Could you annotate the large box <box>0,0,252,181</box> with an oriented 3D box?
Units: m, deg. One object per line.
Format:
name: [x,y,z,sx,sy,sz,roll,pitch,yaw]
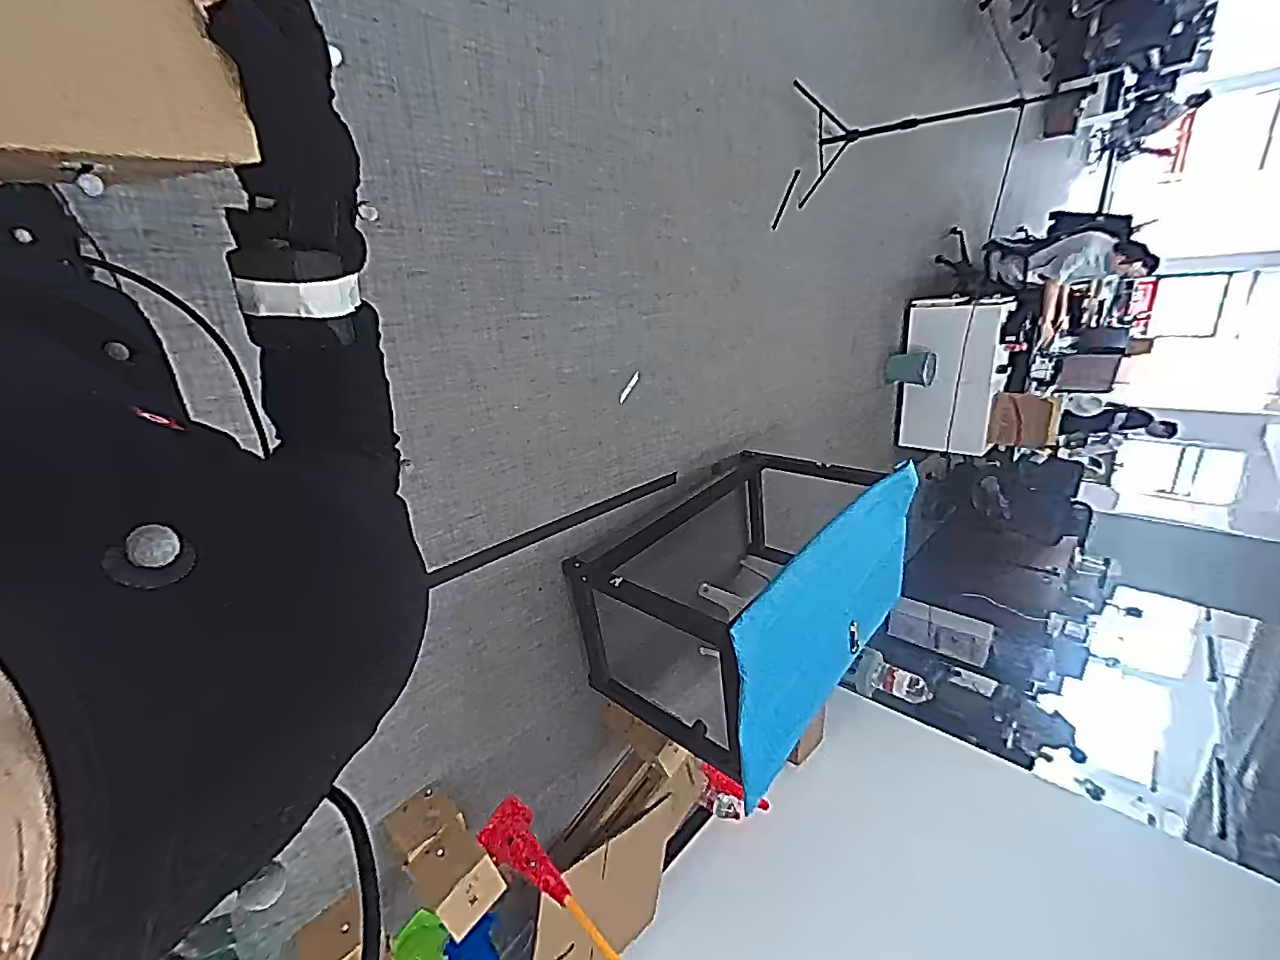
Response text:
large box: [-0.465,-0.295,0.206,0.408,0.320,0.320,-26,126,-42]
